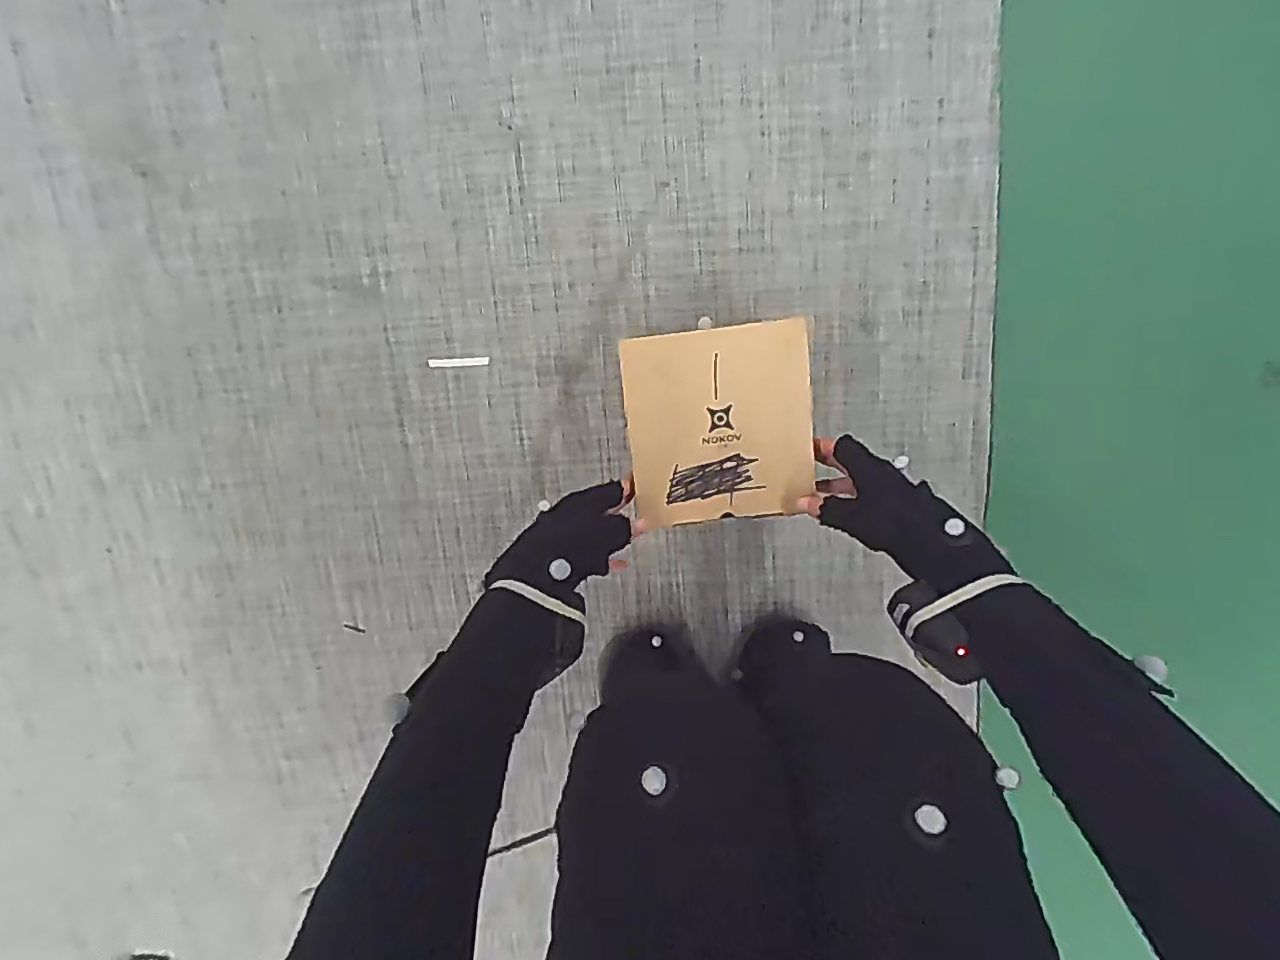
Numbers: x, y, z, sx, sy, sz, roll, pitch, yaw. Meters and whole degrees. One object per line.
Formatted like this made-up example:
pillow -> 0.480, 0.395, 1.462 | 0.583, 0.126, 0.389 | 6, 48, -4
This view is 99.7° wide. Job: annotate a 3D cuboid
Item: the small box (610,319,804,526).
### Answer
small box -> 0.066, -0.065, 0.563 | 0.168, 0.176, 0.179 | -6, 102, 3
